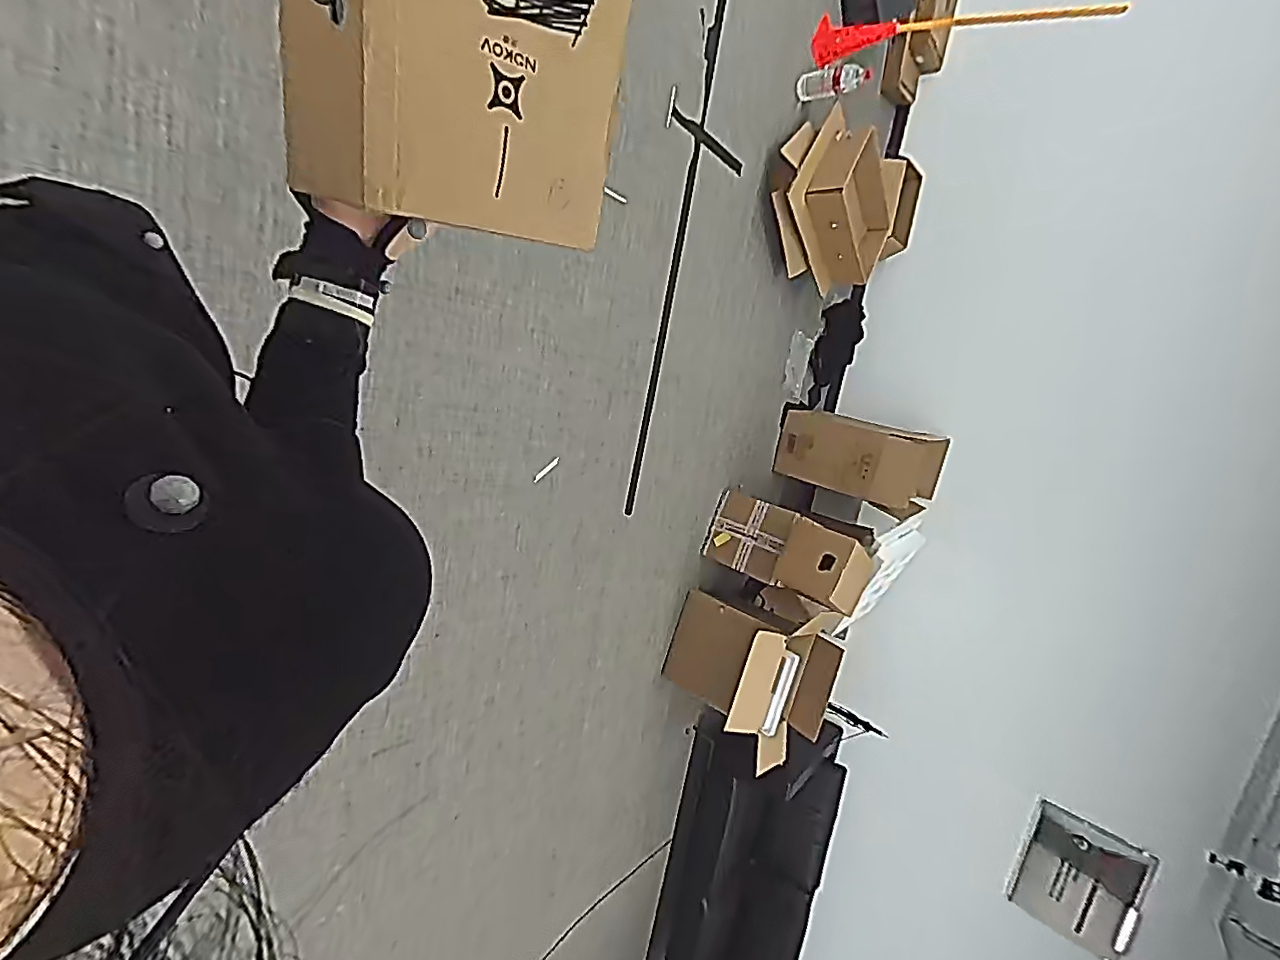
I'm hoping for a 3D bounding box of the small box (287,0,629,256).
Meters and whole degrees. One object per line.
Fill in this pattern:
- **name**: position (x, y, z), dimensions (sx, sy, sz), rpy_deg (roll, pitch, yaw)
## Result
- **small box**: position (-0.134, -0.274, 0.382), dimensions (0.168, 0.176, 0.179), rpy_deg (-11, 122, -43)
